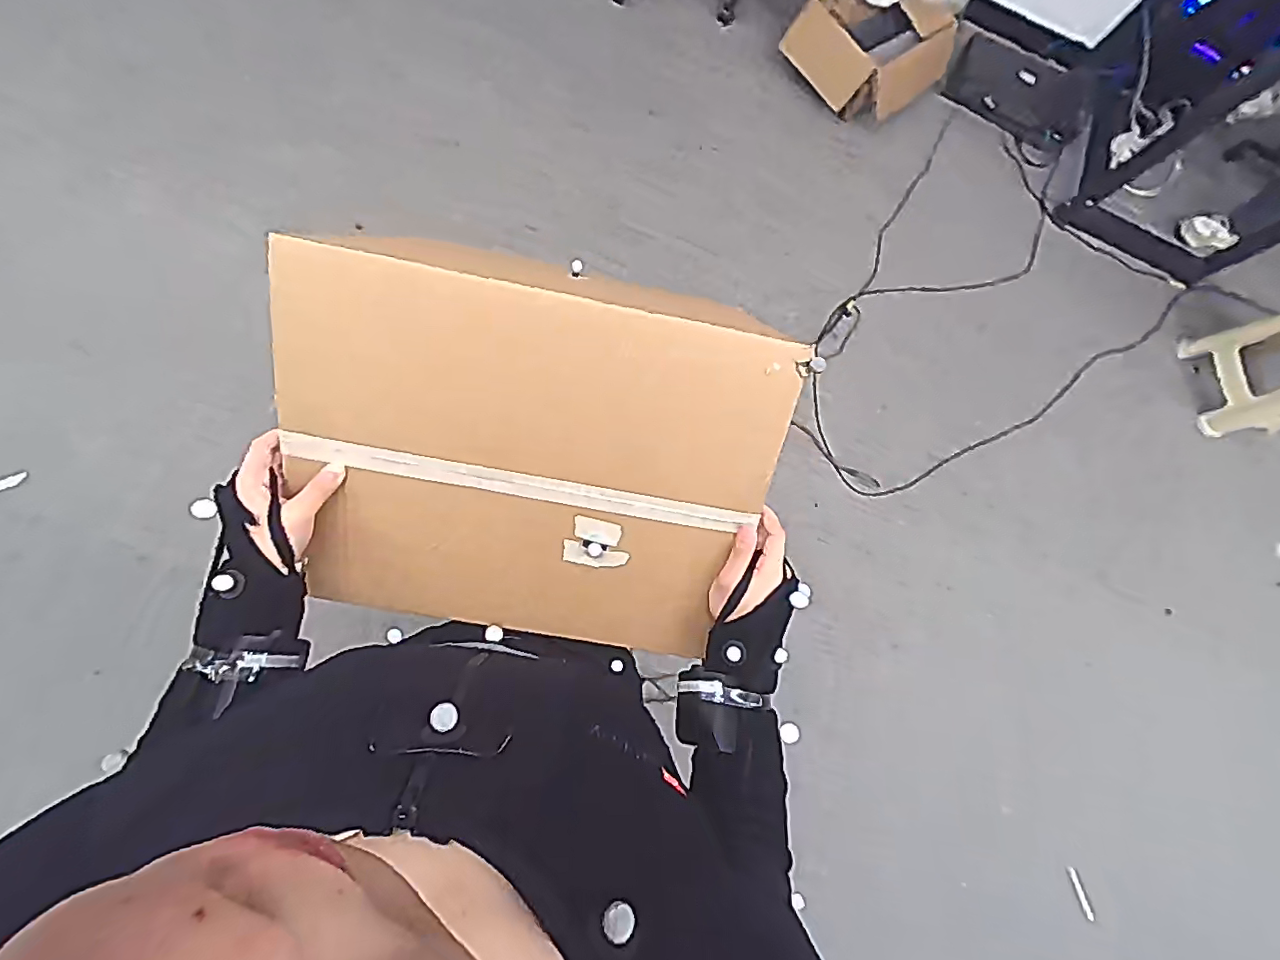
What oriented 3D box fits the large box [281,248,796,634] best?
[{"bbox_3d":[-0.100,-0.066,0.608,0.408,0.320,0.320,9,115,-6],"label":"large box"}]
